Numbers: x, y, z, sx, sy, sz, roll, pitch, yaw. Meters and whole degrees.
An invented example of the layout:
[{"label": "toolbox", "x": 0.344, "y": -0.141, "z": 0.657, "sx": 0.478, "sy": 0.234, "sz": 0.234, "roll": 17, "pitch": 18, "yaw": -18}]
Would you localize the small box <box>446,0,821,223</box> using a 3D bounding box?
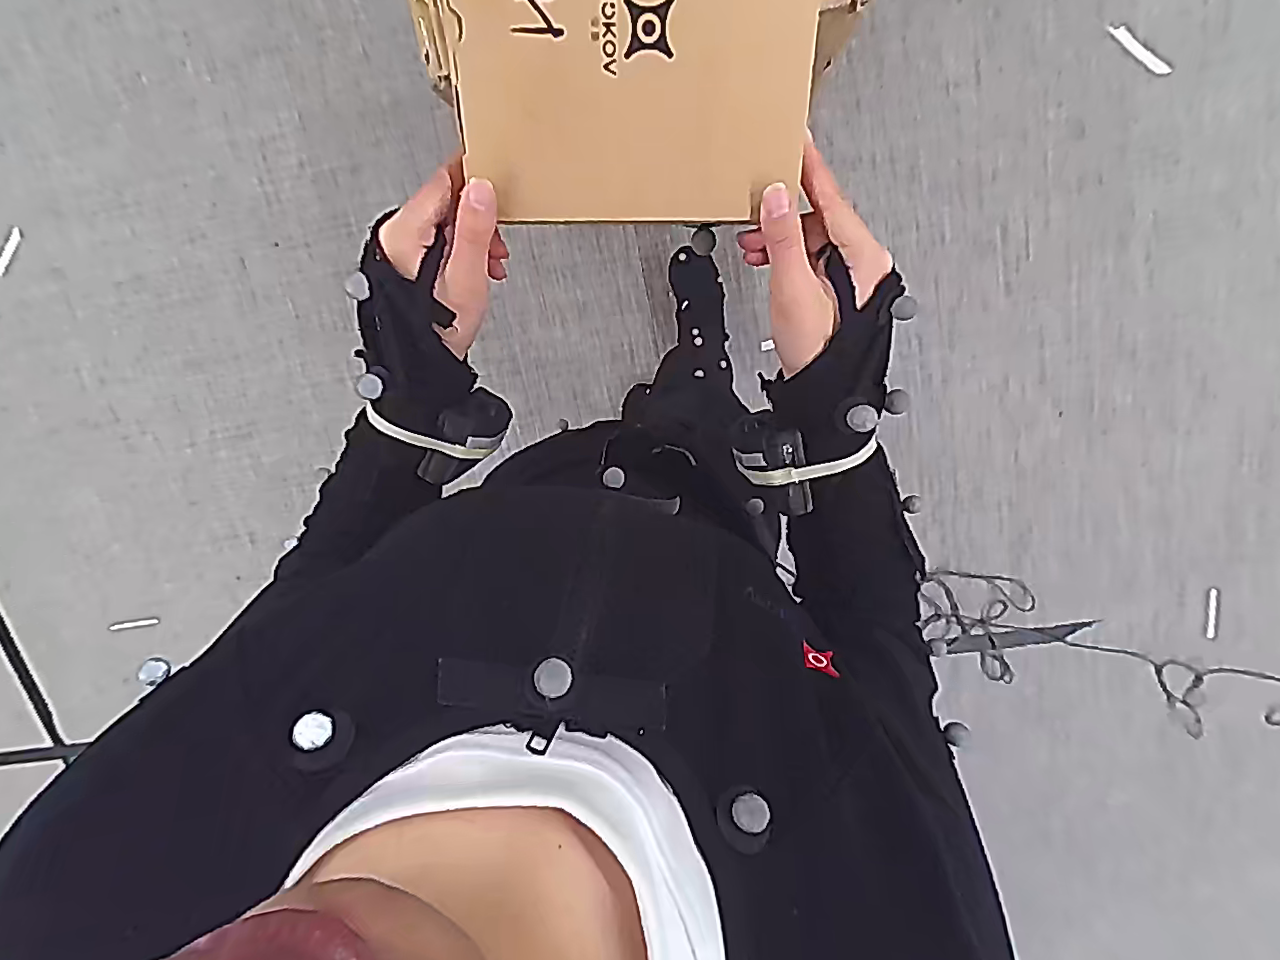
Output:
[{"label": "small box", "x": -0.002, "y": -0.248, "z": 0.323, "sx": 0.179, "sy": 0.176, "sz": 0.168, "roll": 1, "pitch": 114, "yaw": 1}]
